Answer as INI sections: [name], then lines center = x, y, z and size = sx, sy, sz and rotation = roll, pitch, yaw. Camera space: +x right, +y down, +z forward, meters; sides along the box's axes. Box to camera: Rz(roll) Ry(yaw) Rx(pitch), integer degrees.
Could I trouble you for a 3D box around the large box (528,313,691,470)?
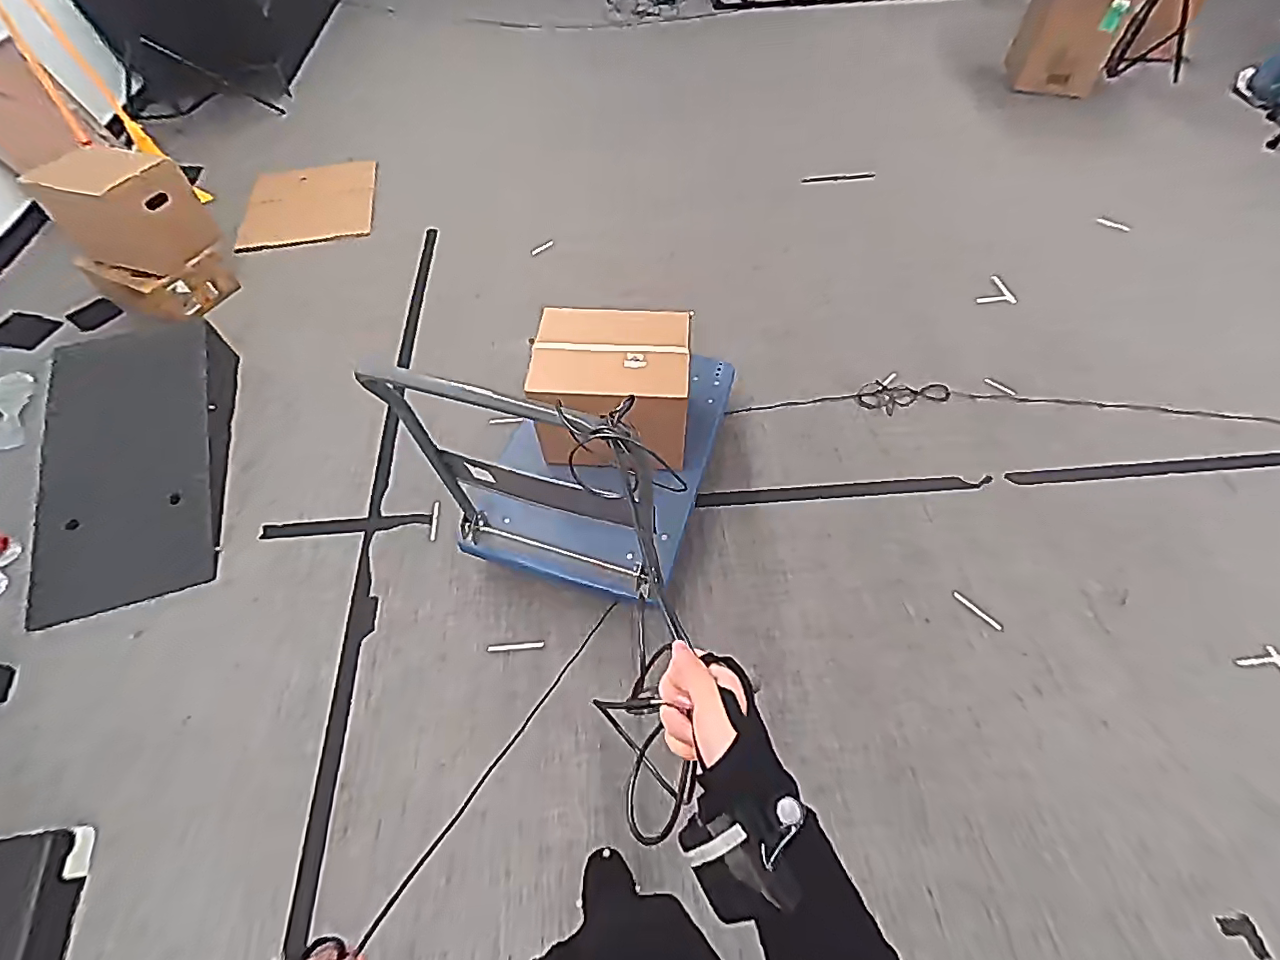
[large box]
center = -0.070, -0.242, 1.519
size = 0.408, 0.320, 0.320
rotation = 3, 57, 3
